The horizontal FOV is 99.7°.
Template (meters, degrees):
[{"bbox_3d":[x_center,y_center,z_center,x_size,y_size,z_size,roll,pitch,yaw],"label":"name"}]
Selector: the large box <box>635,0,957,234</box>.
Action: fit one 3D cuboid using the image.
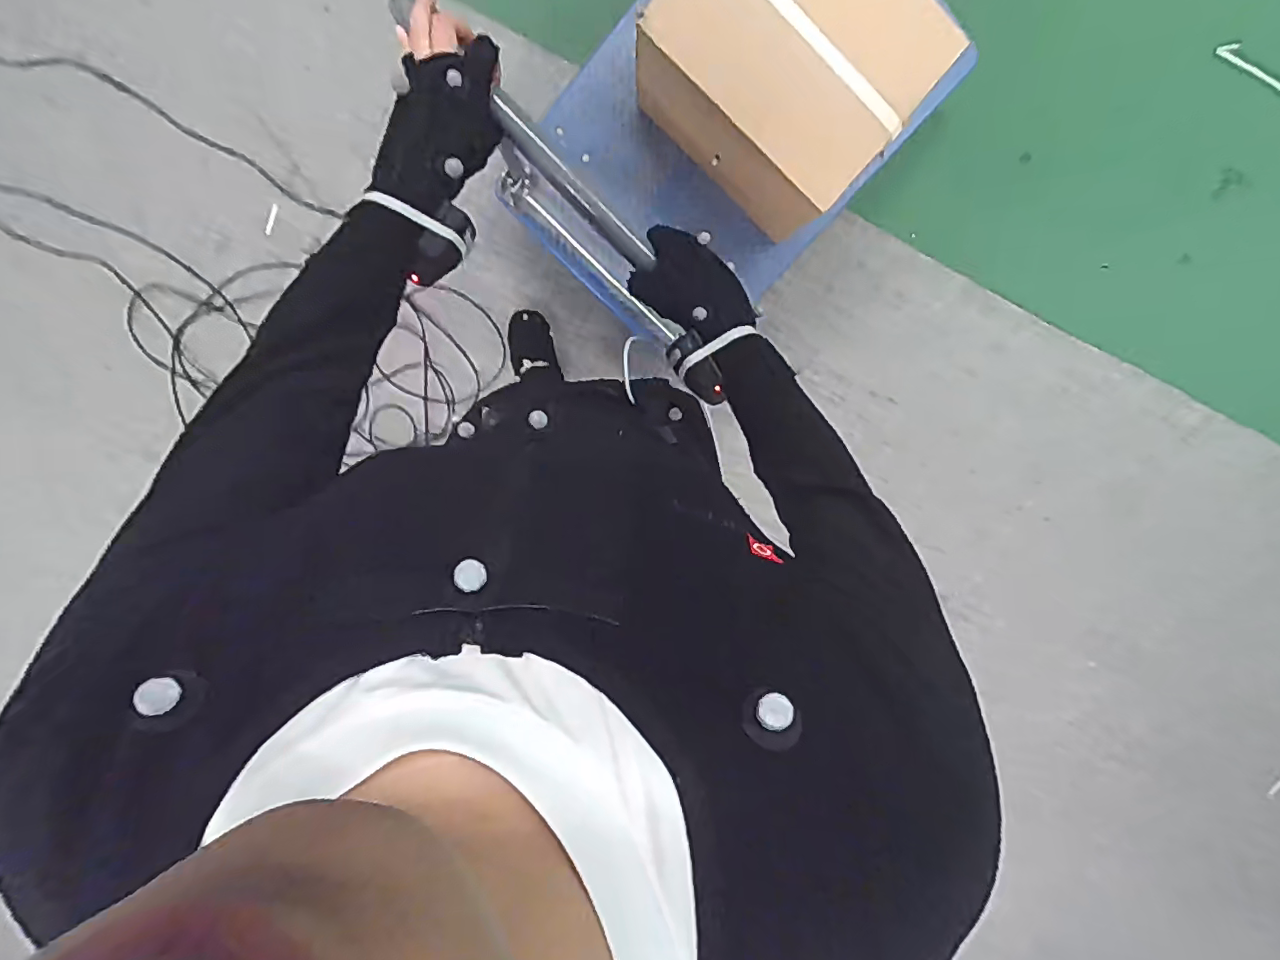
[{"bbox_3d":[0.242,-0.719,0.968,0.408,0.320,0.320,39,101,-10],"label":"large box"}]
